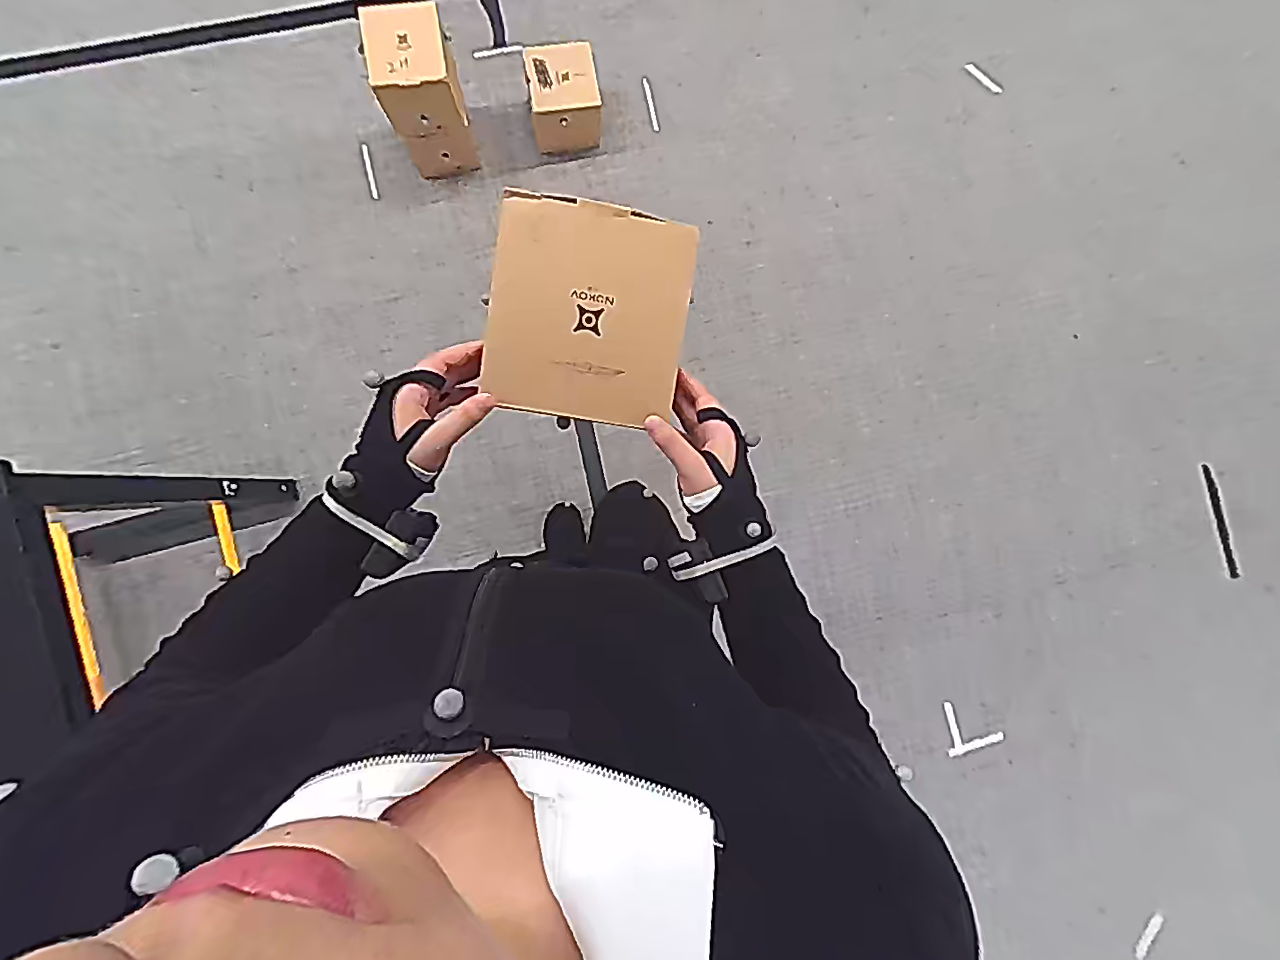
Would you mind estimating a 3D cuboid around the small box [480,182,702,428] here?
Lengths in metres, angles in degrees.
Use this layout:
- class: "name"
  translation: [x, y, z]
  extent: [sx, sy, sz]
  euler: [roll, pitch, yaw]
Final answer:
- class: "small box"
  translation: [-0.050, -0.155, 0.531]
  extent: [0.168, 0.176, 0.179]
  euler: [9, 99, -7]

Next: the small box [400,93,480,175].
- class: "small box"
  translation: [-0.528, -0.924, 1.404]
  extent: [0.168, 0.176, 0.179]
  euler: [-14, 91, -5]

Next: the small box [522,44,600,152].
- class: "small box"
  translation: [-0.204, -1.003, 1.435]
  extent: [0.179, 0.176, 0.168]
  euler: [-11, 90, -6]

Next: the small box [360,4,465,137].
- class: "small box"
  translation: [-0.513, -0.930, 1.239]
  extent: [0.168, 0.176, 0.179]
  euler: [-9, 90, -4]
